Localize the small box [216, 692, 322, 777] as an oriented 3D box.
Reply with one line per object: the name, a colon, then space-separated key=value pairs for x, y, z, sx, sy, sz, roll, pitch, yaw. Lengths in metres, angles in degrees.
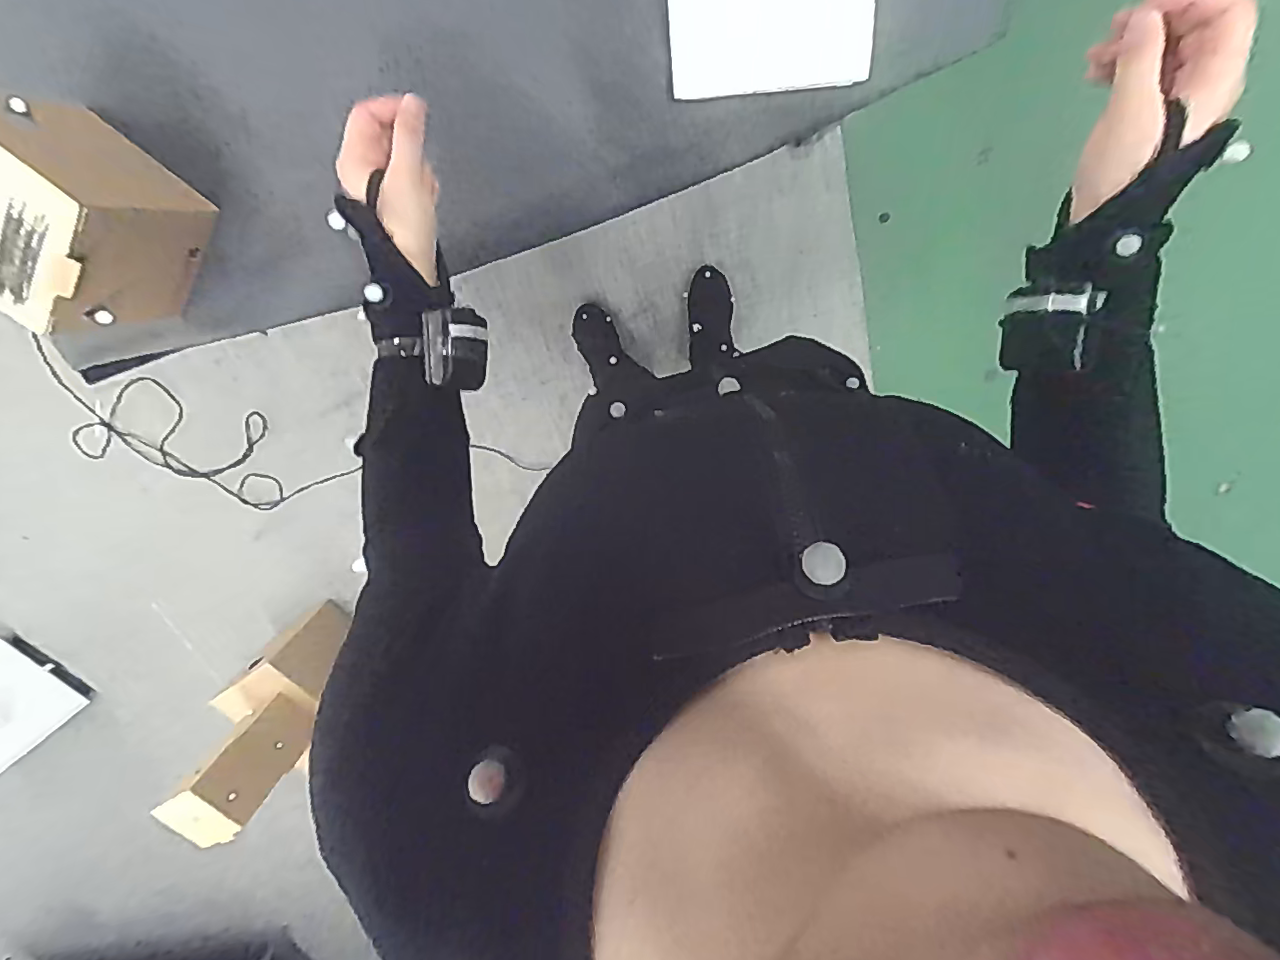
small box: x=-1.100 y=0.771 z=1.610 sx=0.168 sy=0.176 sz=0.179 roll=-32 pitch=108 yaw=17

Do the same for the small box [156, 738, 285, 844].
small box: x=-1.120 y=0.828 z=1.458 sx=0.168 sy=0.176 sz=0.179 roll=-31 pitch=109 yaw=17
